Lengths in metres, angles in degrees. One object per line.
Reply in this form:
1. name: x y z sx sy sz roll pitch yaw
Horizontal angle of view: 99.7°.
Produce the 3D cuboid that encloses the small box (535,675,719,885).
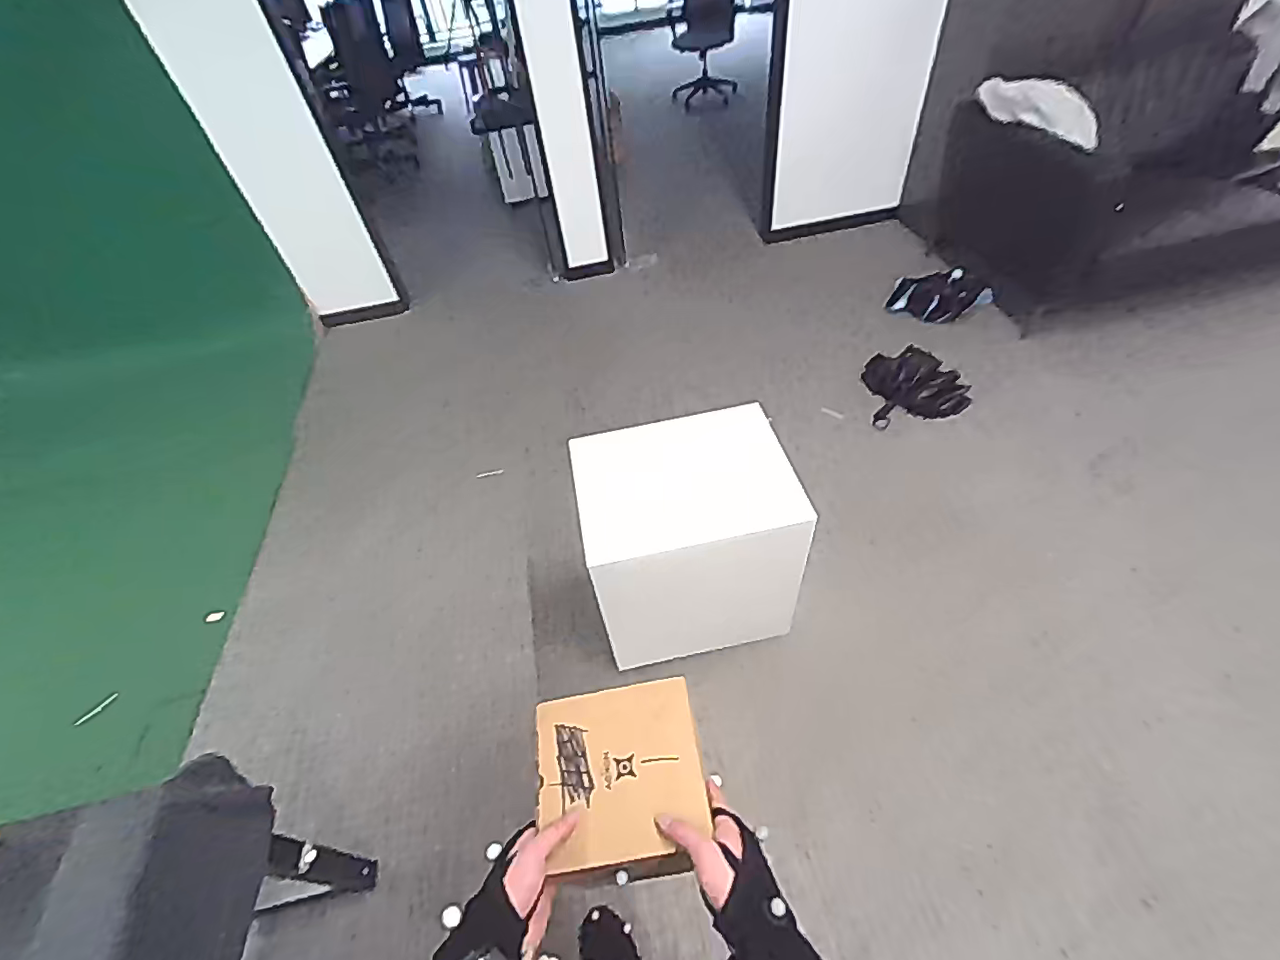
1. small box: -0.012 0.347 0.619 0.179 0.176 0.168 -10 49 1
